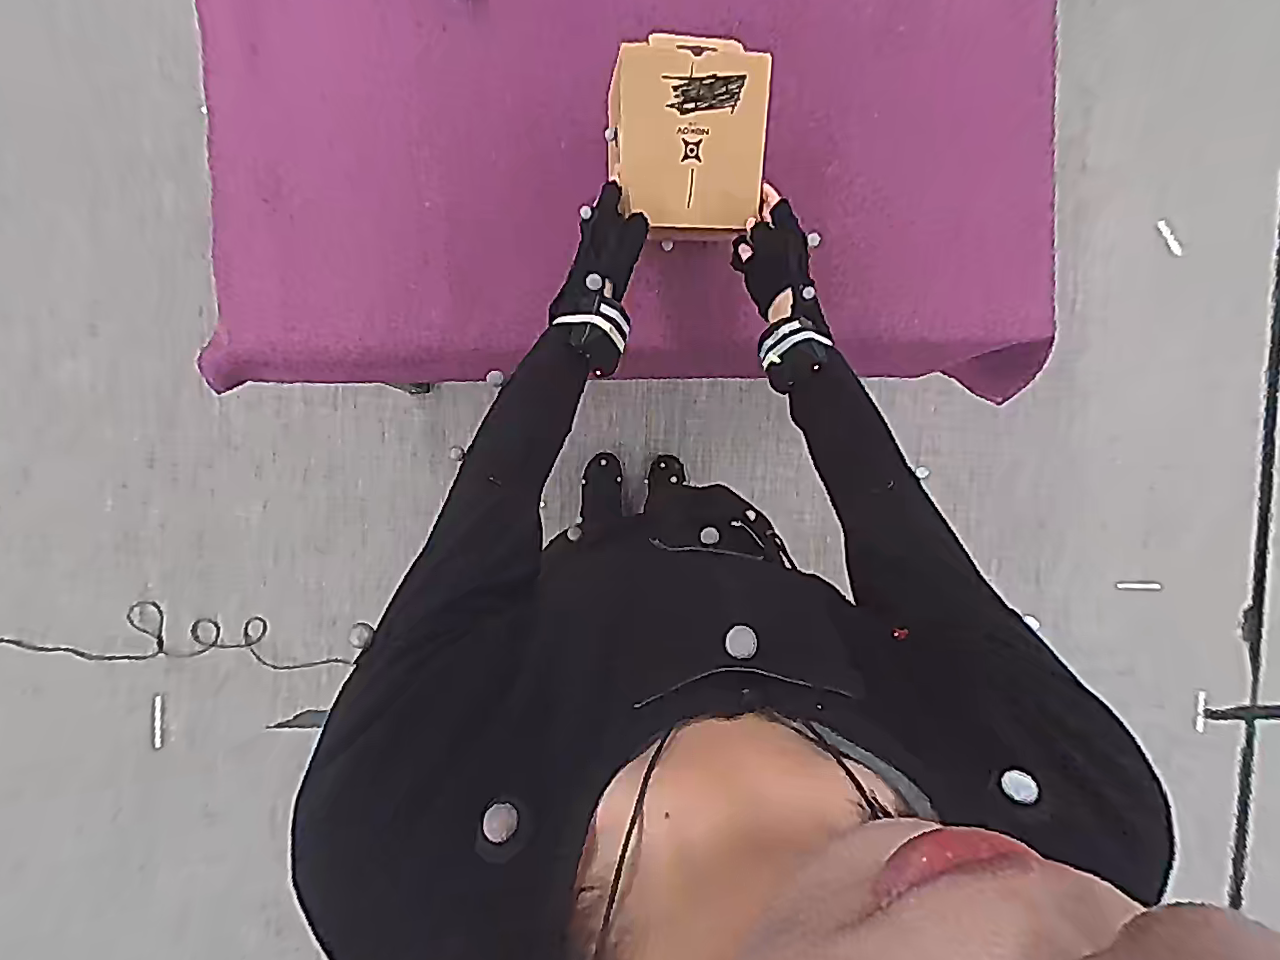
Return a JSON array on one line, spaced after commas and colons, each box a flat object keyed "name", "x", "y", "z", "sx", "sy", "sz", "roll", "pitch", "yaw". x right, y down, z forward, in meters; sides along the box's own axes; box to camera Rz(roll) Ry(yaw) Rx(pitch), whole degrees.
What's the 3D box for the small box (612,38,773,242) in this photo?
[{"name": "small box", "x": 0.052, "y": -0.404, "z": 0.673, "sx": 0.168, "sy": 0.176, "sz": 0.179, "roll": -2, "pitch": 108, "yaw": -7}]
